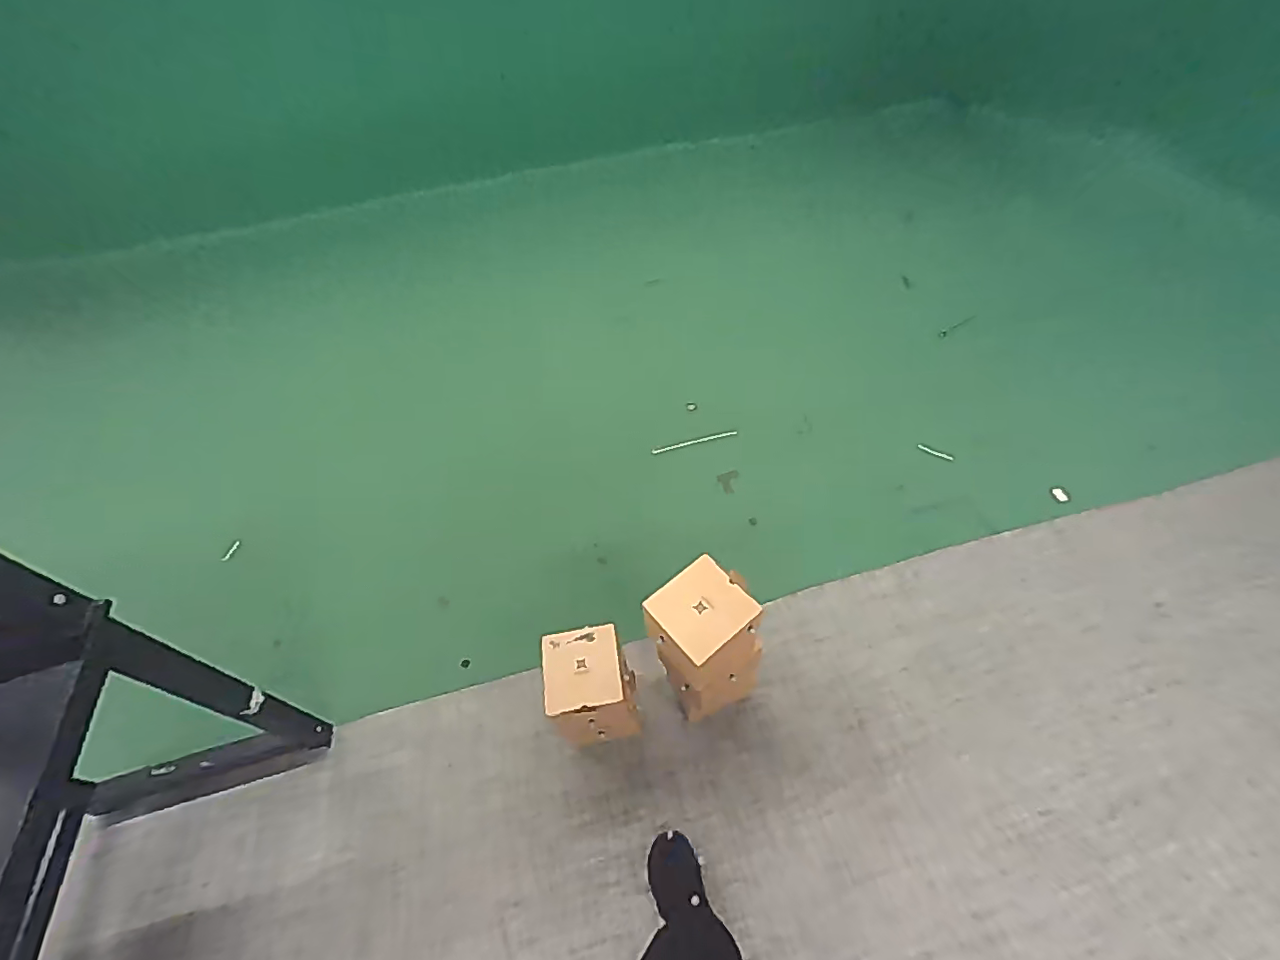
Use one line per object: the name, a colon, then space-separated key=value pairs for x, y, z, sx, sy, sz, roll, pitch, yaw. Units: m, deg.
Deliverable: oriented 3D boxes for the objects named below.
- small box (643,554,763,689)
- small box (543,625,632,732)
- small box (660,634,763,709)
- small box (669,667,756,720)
small box: x=0.127 y=0.291 z=1.101 sx=0.179 sy=0.176 sz=0.168 roll=-35 pitch=58 yaw=-20
small box: x=-0.116 y=0.450 z=1.207 sx=0.168 sy=0.176 sz=0.179 roll=-10 pitch=52 yaw=-1
small box: x=0.156 y=0.390 z=1.229 sx=0.179 sy=0.176 sz=0.168 roll=-31 pitch=57 yaw=-18
small box: x=0.173 y=0.478 z=1.364 sx=0.179 sy=0.176 sz=0.168 roll=-20 pitch=54 yaw=-11
